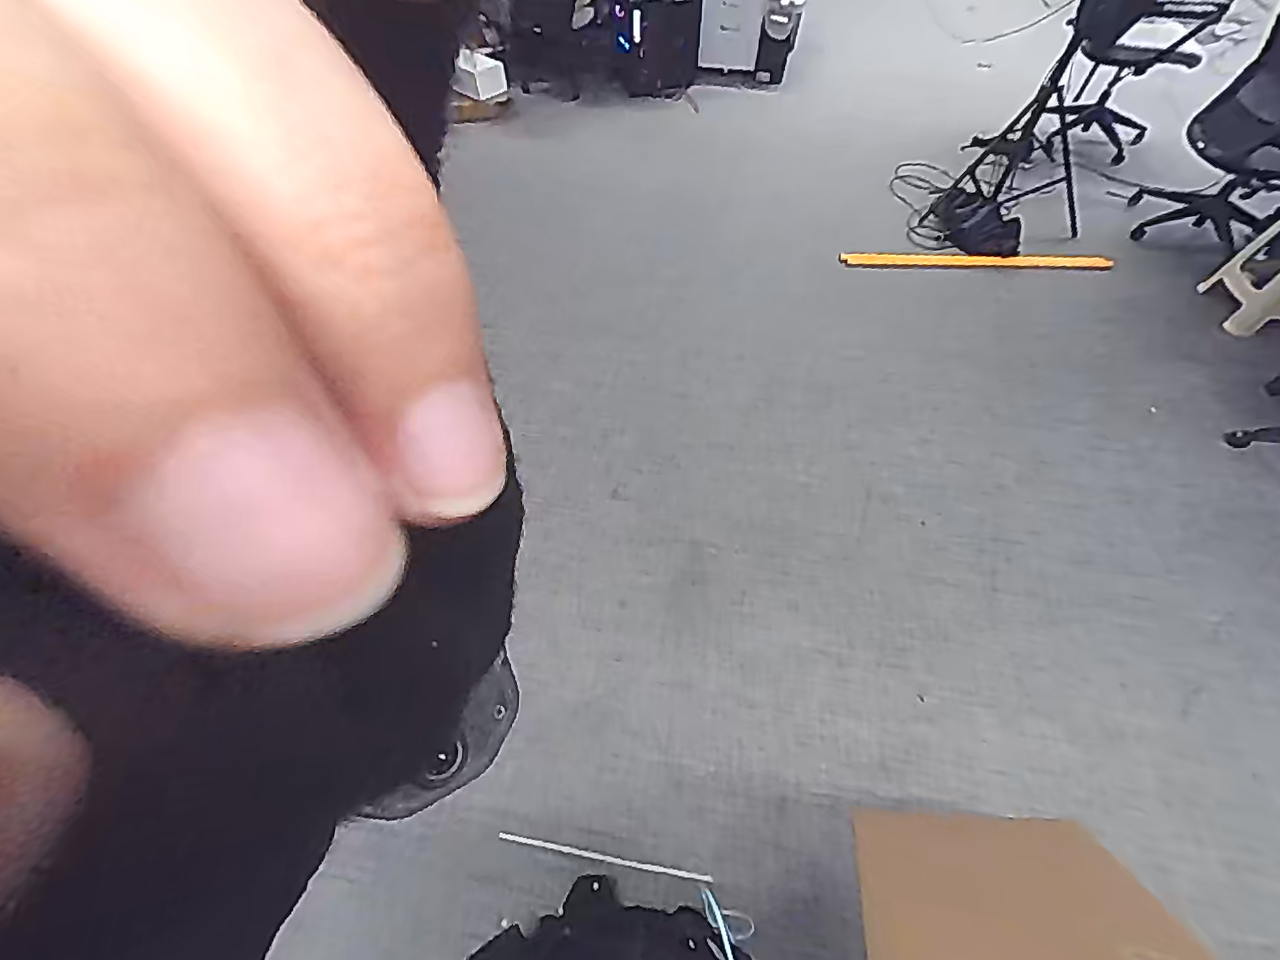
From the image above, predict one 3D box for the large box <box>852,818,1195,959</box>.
[{"bbox_3d":[0.425,0.635,0.608,0.320,0.408,0.320,-9,77,19],"label":"large box"}]
